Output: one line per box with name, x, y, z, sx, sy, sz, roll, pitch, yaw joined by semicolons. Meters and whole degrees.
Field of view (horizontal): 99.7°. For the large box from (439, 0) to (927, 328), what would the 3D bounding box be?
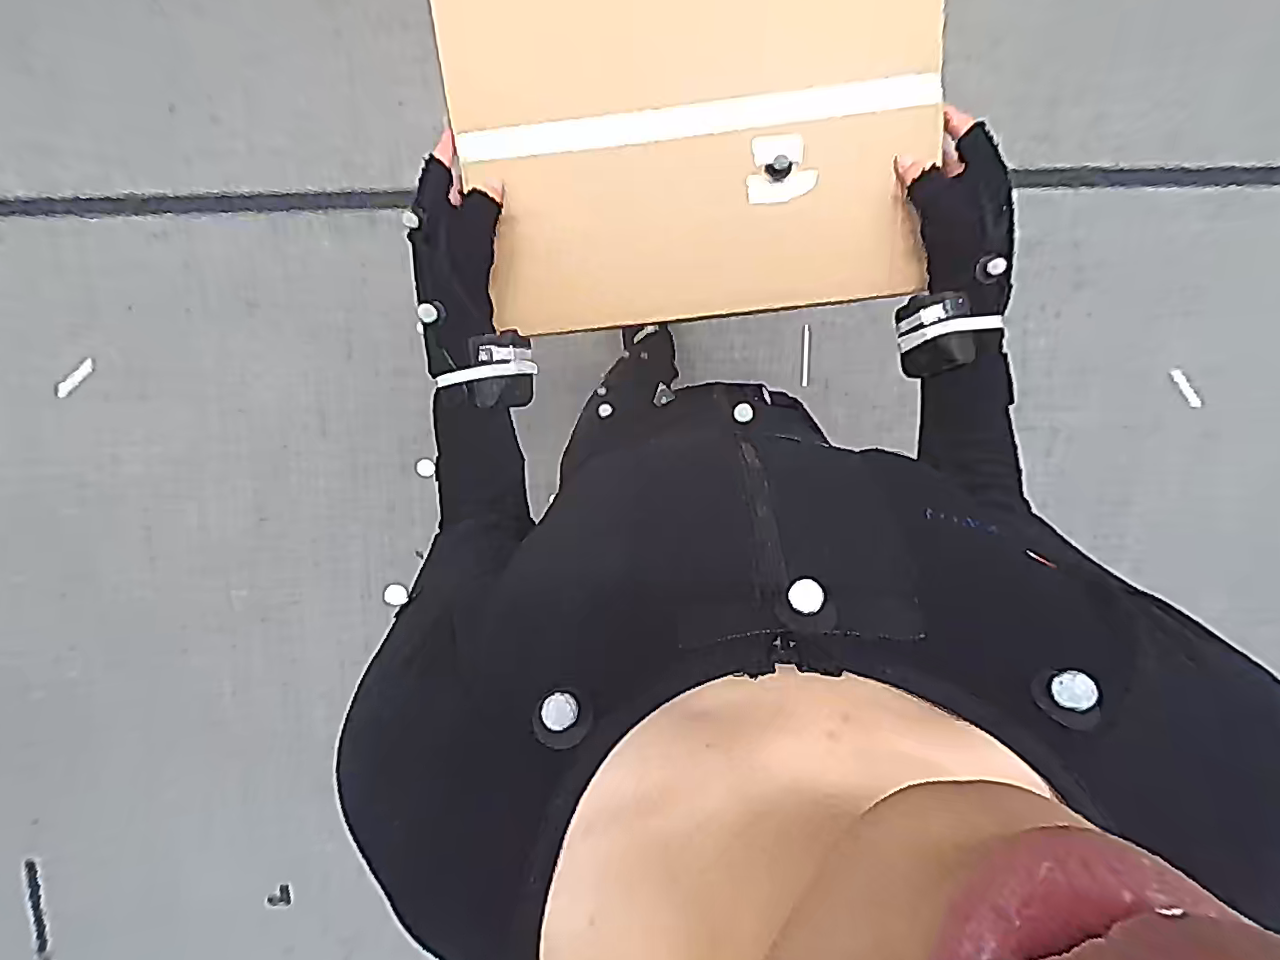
large box;0.042;-0.356;0.608;0.408;0.320;0.320;-6;105;1
